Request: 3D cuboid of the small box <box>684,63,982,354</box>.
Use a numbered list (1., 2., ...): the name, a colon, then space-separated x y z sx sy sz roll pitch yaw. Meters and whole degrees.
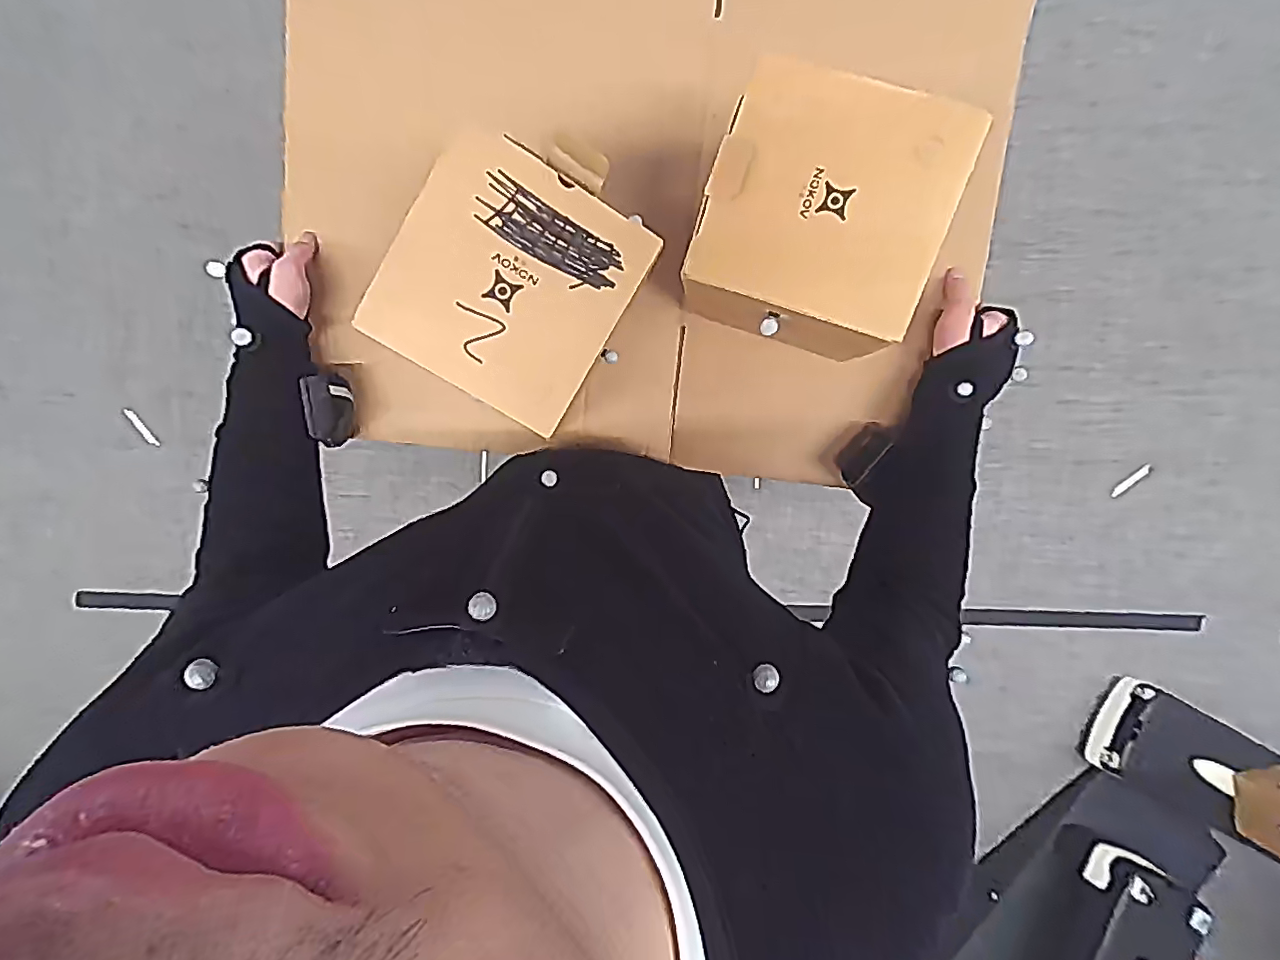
1. small box: 0.153 -0.219 0.489 0.179 0.176 0.168 20 100 6
